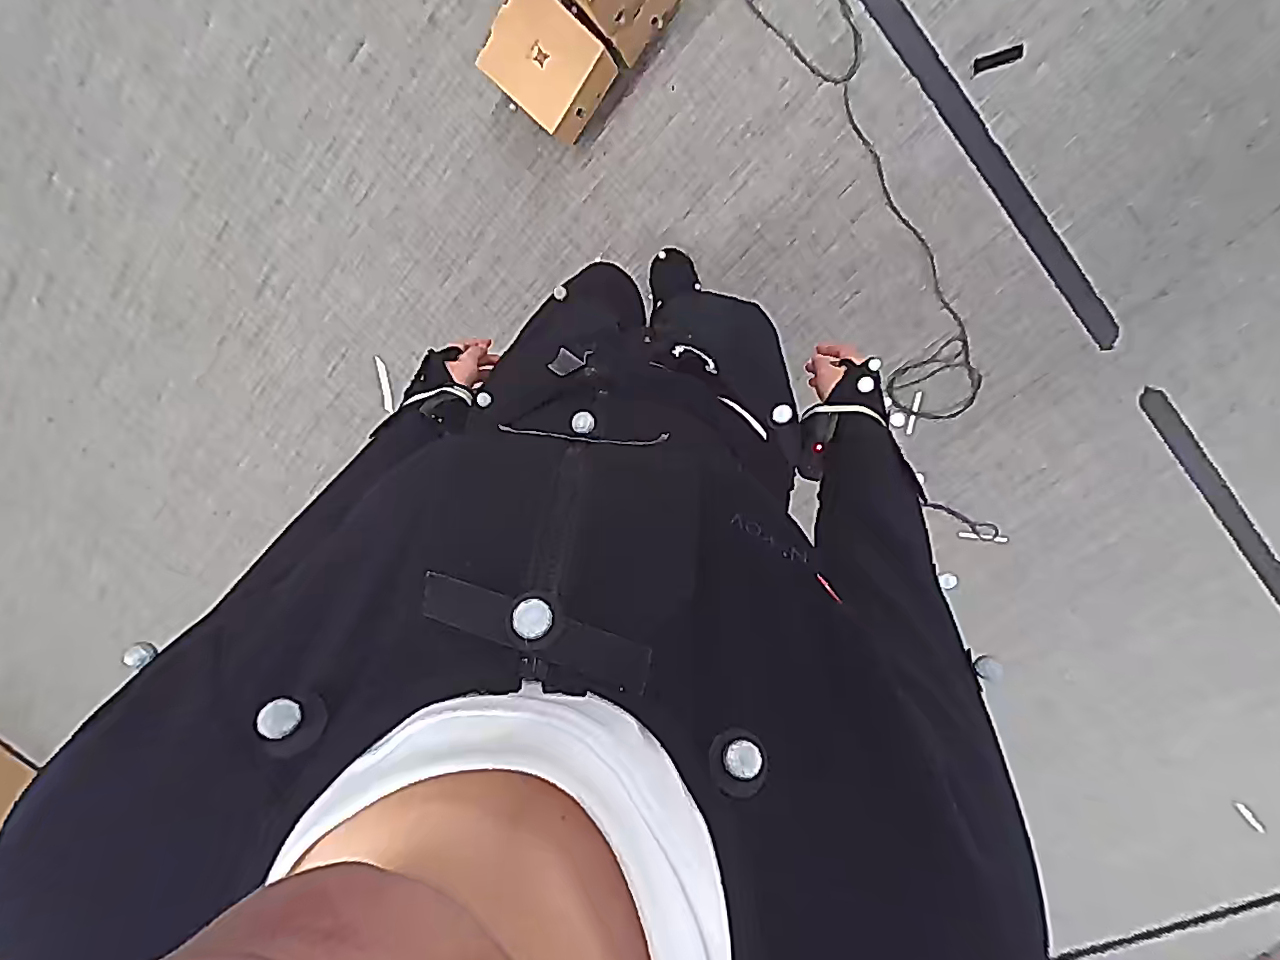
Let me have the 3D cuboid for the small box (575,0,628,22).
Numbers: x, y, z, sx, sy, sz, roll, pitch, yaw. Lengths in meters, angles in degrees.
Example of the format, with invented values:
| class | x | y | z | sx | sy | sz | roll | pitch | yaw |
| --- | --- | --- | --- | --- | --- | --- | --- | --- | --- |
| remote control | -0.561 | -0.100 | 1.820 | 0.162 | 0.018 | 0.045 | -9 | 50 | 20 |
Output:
| class | x | y | z | sx | sy | sz | roll | pitch | yaw |
| --- | --- | --- | --- | --- | --- | --- | --- | --- | --- |
| small box | -0.068 | -0.813 | 0.776 | 0.168 | 0.176 | 0.179 | -41 | 103 | 22 |
